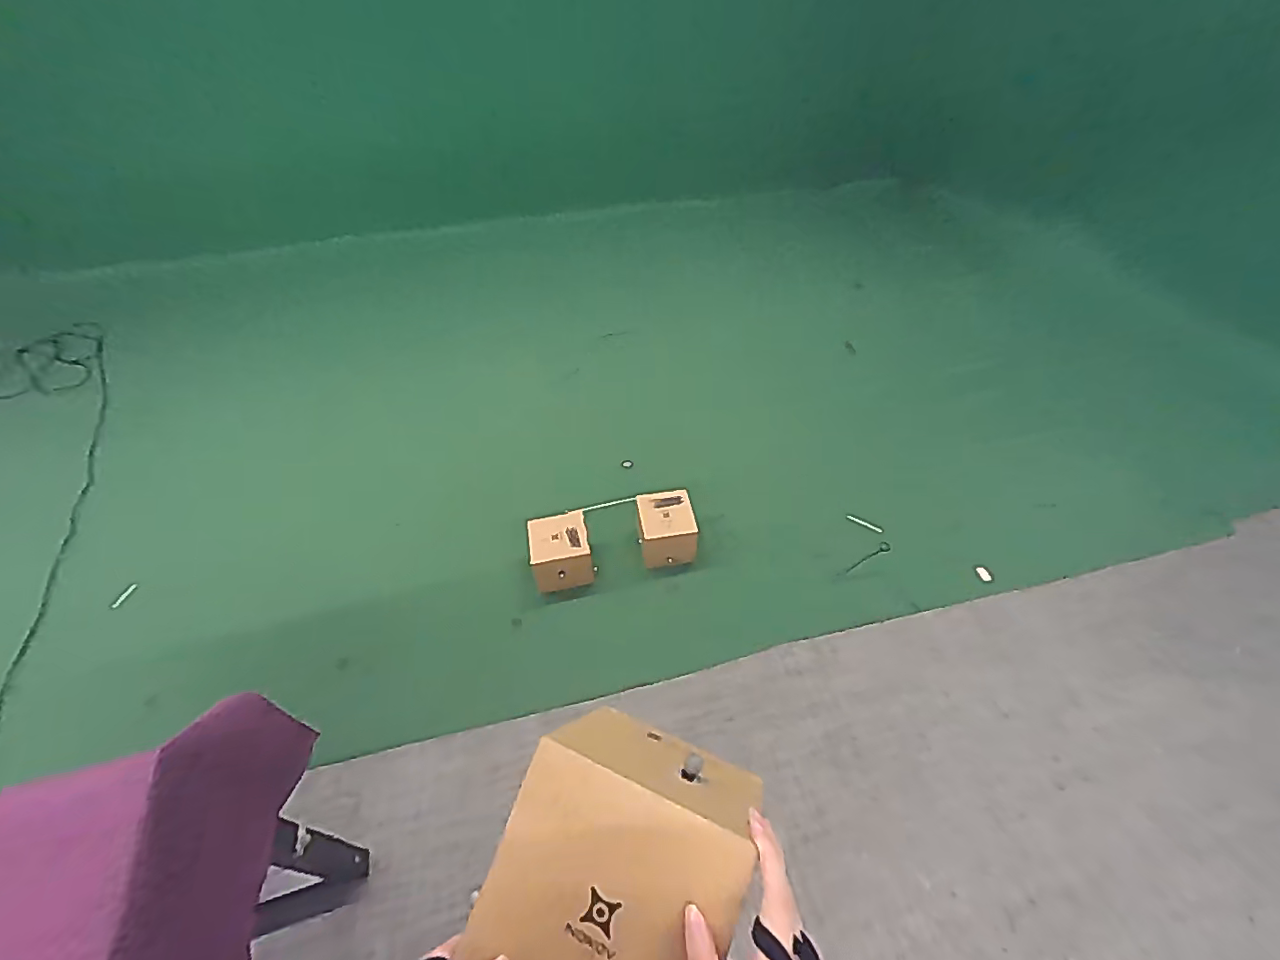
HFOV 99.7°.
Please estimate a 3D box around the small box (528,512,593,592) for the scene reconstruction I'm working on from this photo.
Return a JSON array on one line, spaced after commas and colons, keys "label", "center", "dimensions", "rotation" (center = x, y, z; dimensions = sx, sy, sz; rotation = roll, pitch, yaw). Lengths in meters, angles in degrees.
[{"label": "small box", "center": [-0.243, 0.225, 1.683], "dimensions": [0.179, 0.176, 0.168], "rotation": [-11, 48, -6]}]
